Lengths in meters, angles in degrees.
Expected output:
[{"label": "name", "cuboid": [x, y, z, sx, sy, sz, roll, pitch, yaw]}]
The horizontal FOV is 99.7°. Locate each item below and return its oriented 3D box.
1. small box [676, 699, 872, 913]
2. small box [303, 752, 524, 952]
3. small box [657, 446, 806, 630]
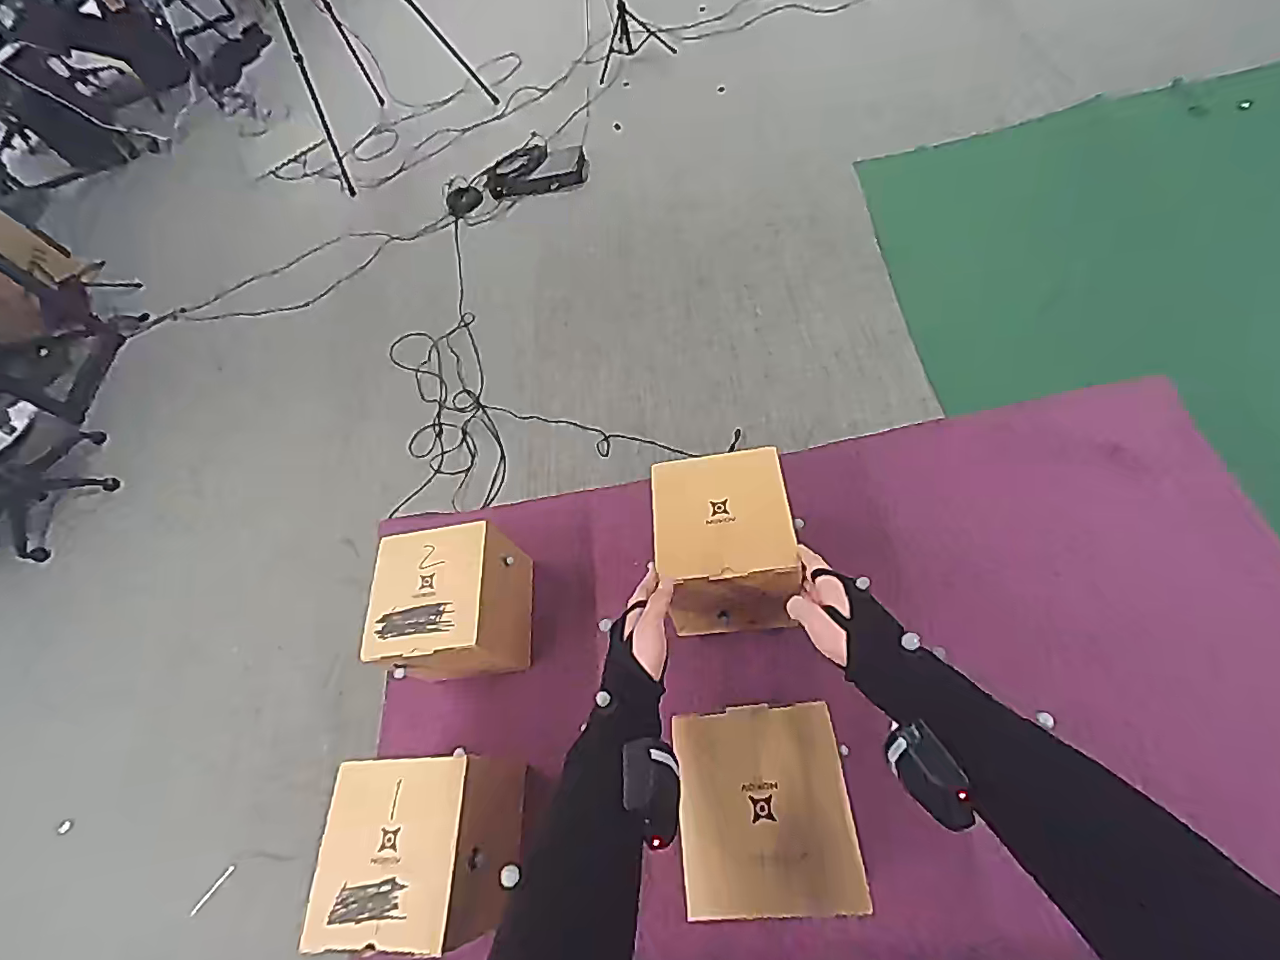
[{"label": "small box", "cuboid": [0.138, 0.350, 0.592, 0.168, 0.176, 0.179, -10, 60, 11]}, {"label": "small box", "cuboid": [-0.250, 0.428, 0.648, 0.168, 0.176, 0.179, -7, 59, 10]}, {"label": "small box", "cuboid": [0.115, 0.081, 0.713, 0.168, 0.176, 0.179, -7, 54, 8]}]
